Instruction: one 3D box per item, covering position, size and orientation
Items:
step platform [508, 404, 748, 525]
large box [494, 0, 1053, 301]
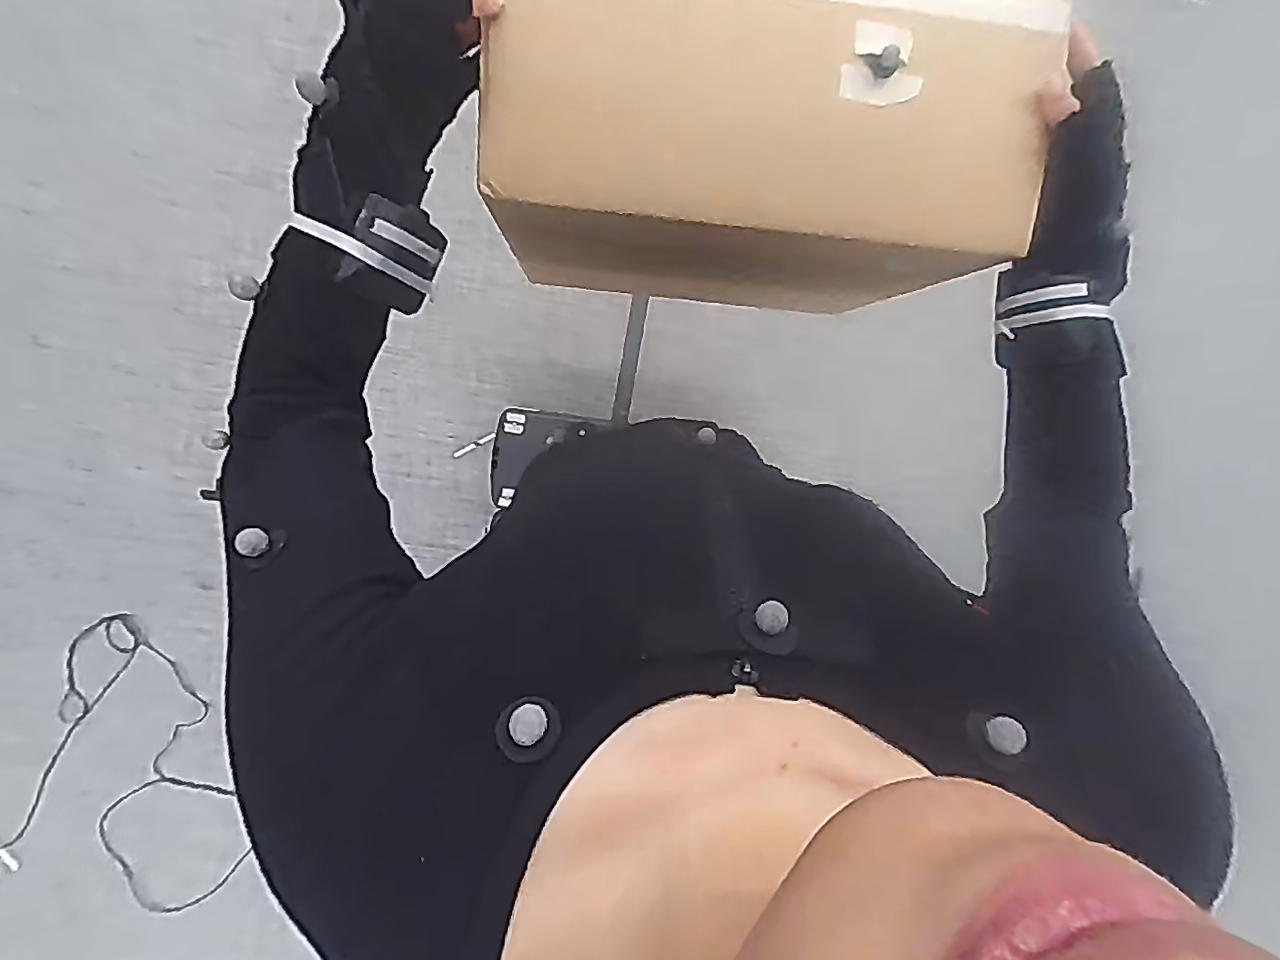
[{"bbox_3d":[-0.036,-0.044,1.574,0.684,0.204,0.286,6,95,-6],"label":"step platform"},{"bbox_3d":[0.086,-0.367,0.521,0.408,0.320,0.320,3,100,-6],"label":"large box"}]
